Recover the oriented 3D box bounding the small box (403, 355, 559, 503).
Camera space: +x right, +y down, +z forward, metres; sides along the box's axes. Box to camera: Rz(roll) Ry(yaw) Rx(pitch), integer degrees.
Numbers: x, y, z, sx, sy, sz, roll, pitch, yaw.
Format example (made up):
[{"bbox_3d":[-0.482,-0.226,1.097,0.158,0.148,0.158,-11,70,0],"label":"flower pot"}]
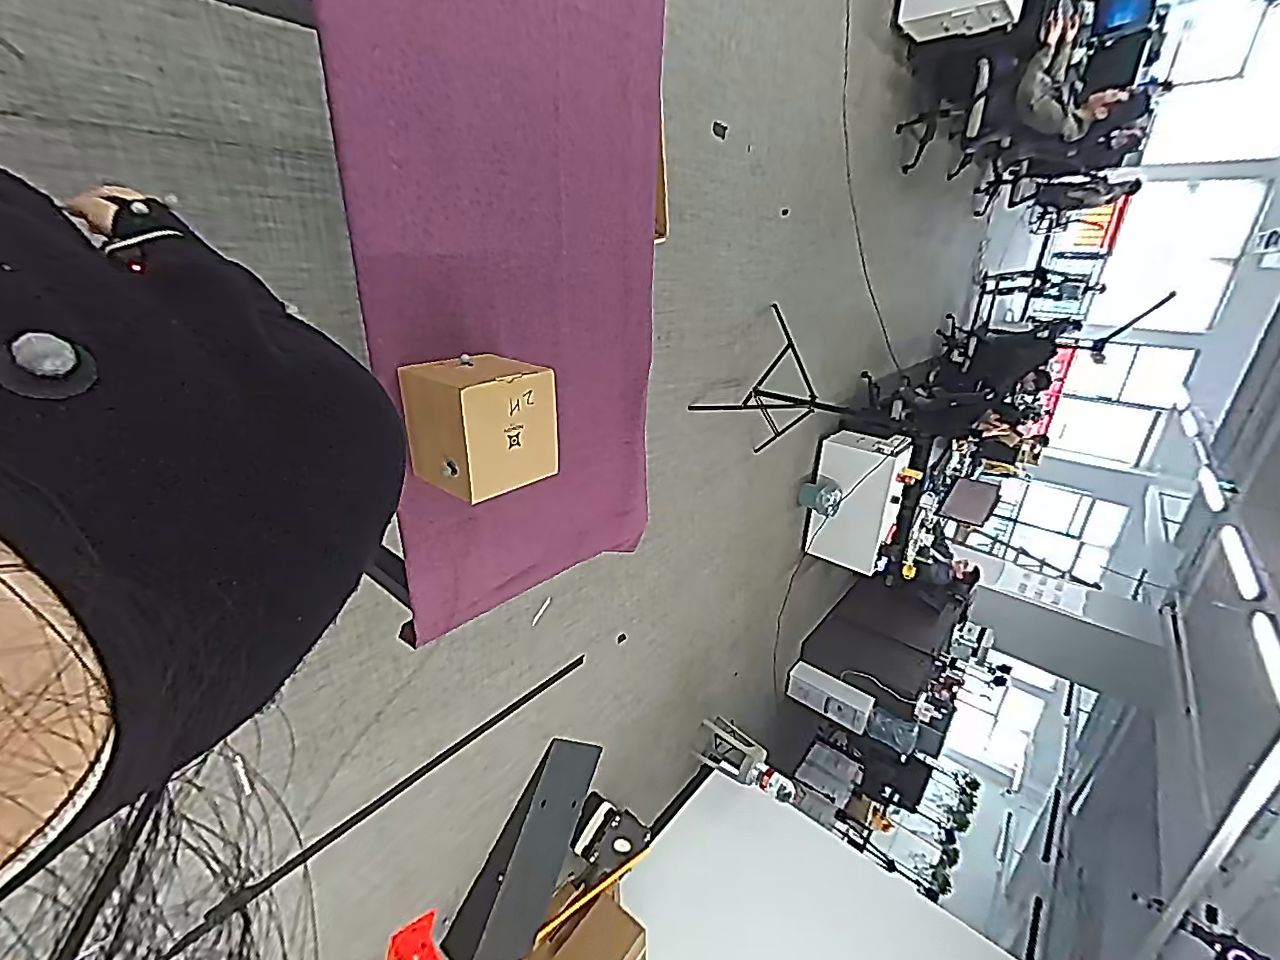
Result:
[{"bbox_3d":[-0.246,-0.089,0.848,0.168,0.176,0.179,-25,124,-45],"label":"small box"}]
